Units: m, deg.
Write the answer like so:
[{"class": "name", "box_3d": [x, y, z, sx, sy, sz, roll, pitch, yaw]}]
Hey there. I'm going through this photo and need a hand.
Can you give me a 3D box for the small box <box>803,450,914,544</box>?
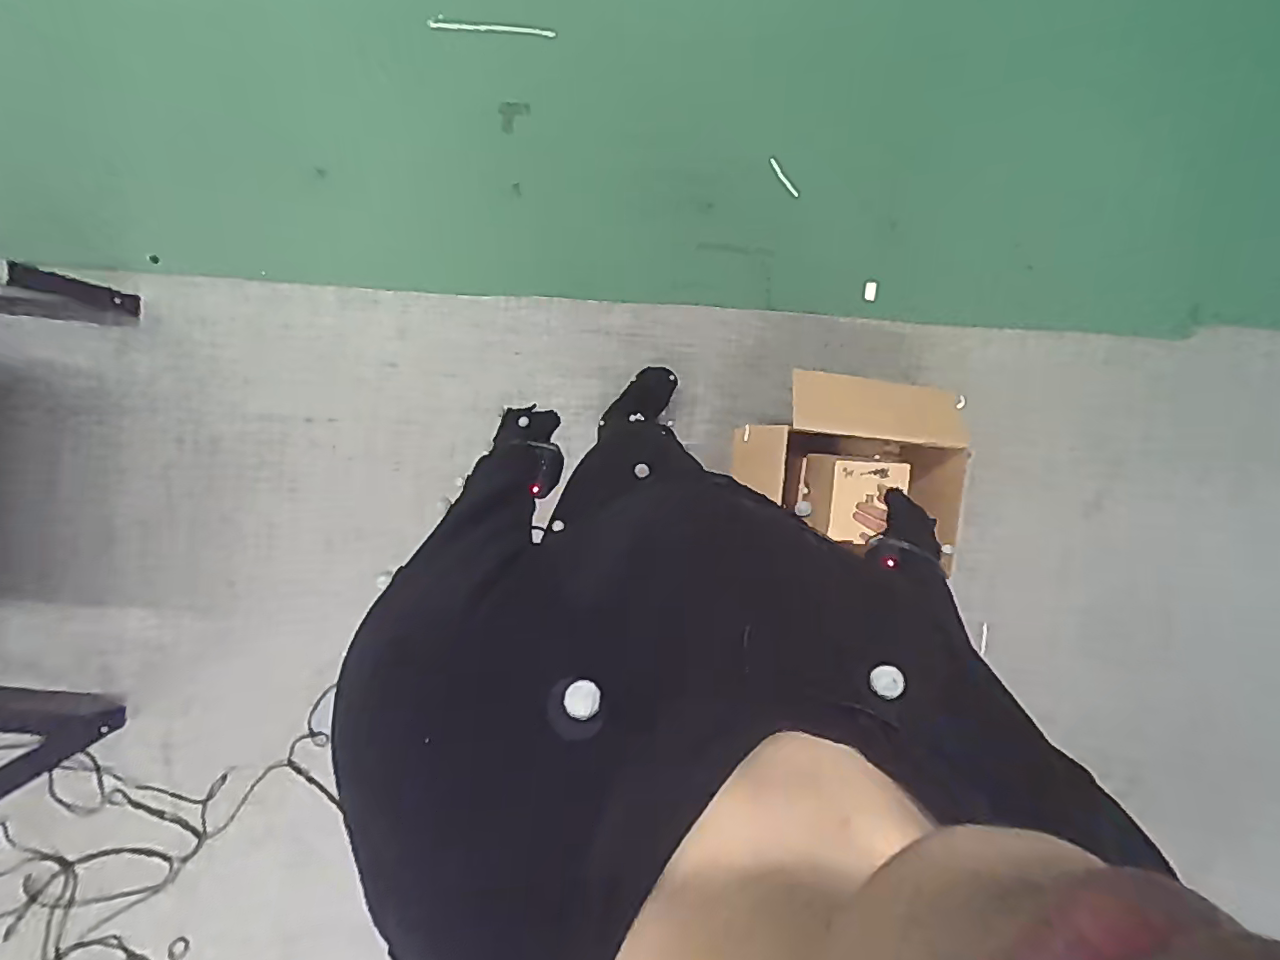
[{"class": "small box", "box_3d": [0.481, 0.033, 1.218, 0.168, 0.176, 0.179, 4, 99, -4]}]
